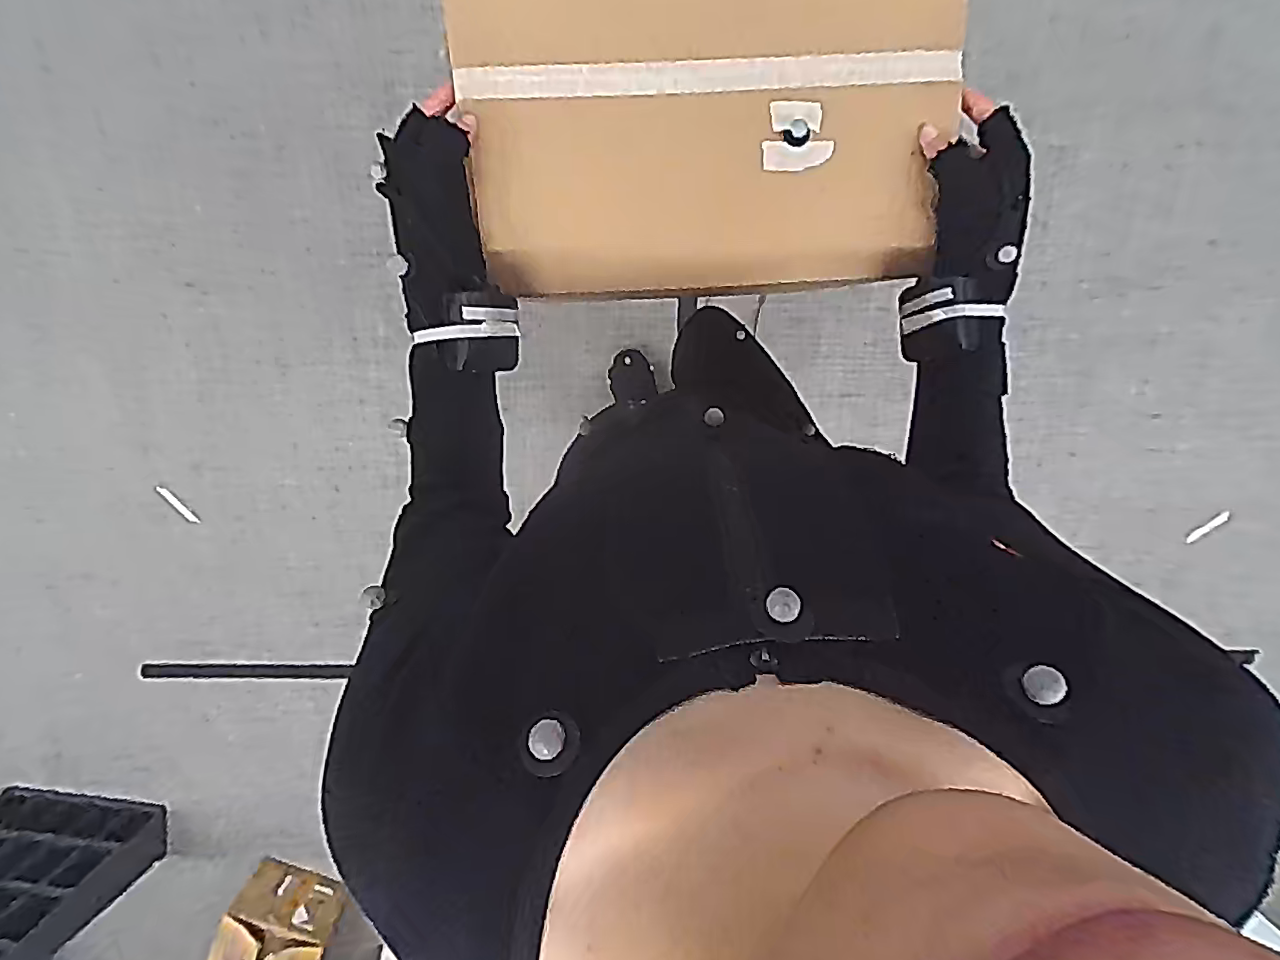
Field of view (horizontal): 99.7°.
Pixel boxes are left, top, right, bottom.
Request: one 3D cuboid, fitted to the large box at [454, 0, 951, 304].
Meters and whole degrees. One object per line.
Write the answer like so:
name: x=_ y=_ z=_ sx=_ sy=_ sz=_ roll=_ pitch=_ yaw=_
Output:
large box: x=0.045 y=-0.370 z=0.586 sx=0.408 sy=0.320 sz=0.320 roll=-4 pitch=107 yaw=-3
